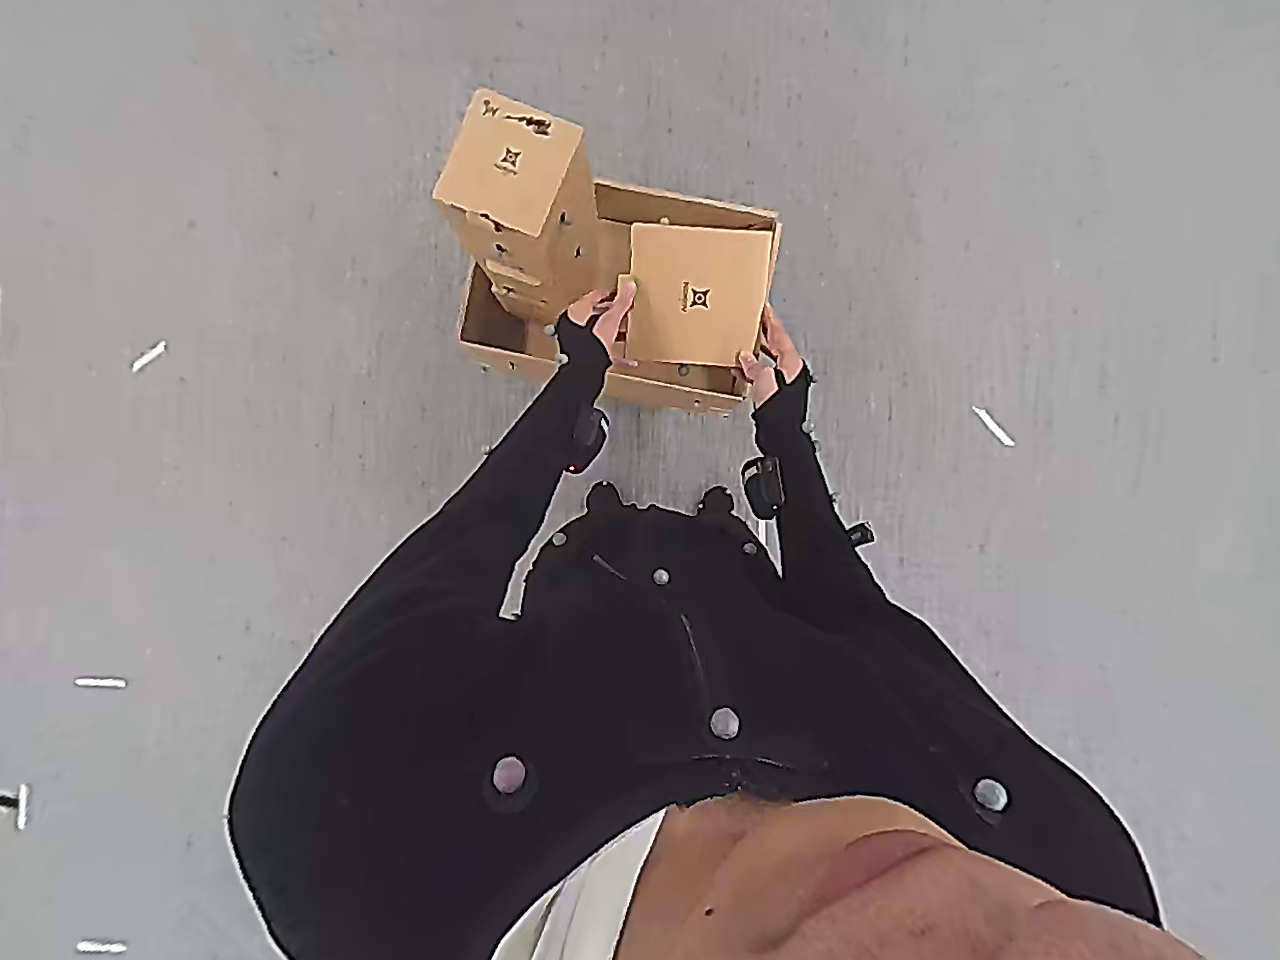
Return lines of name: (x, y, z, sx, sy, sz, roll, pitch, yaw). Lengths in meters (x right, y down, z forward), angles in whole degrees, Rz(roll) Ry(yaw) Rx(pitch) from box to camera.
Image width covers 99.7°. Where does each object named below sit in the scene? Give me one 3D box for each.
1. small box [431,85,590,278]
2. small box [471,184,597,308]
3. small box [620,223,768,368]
small box: (-0.185, -0.443, 0.835, 0.168, 0.176, 0.179, 23, 89, 1)
small box: (-0.183, -0.444, 1.000, 0.168, 0.176, 0.179, 19, 88, 1)
small box: (0.069, -0.248, 0.755, 0.179, 0.176, 0.168, 4, 103, 3)
